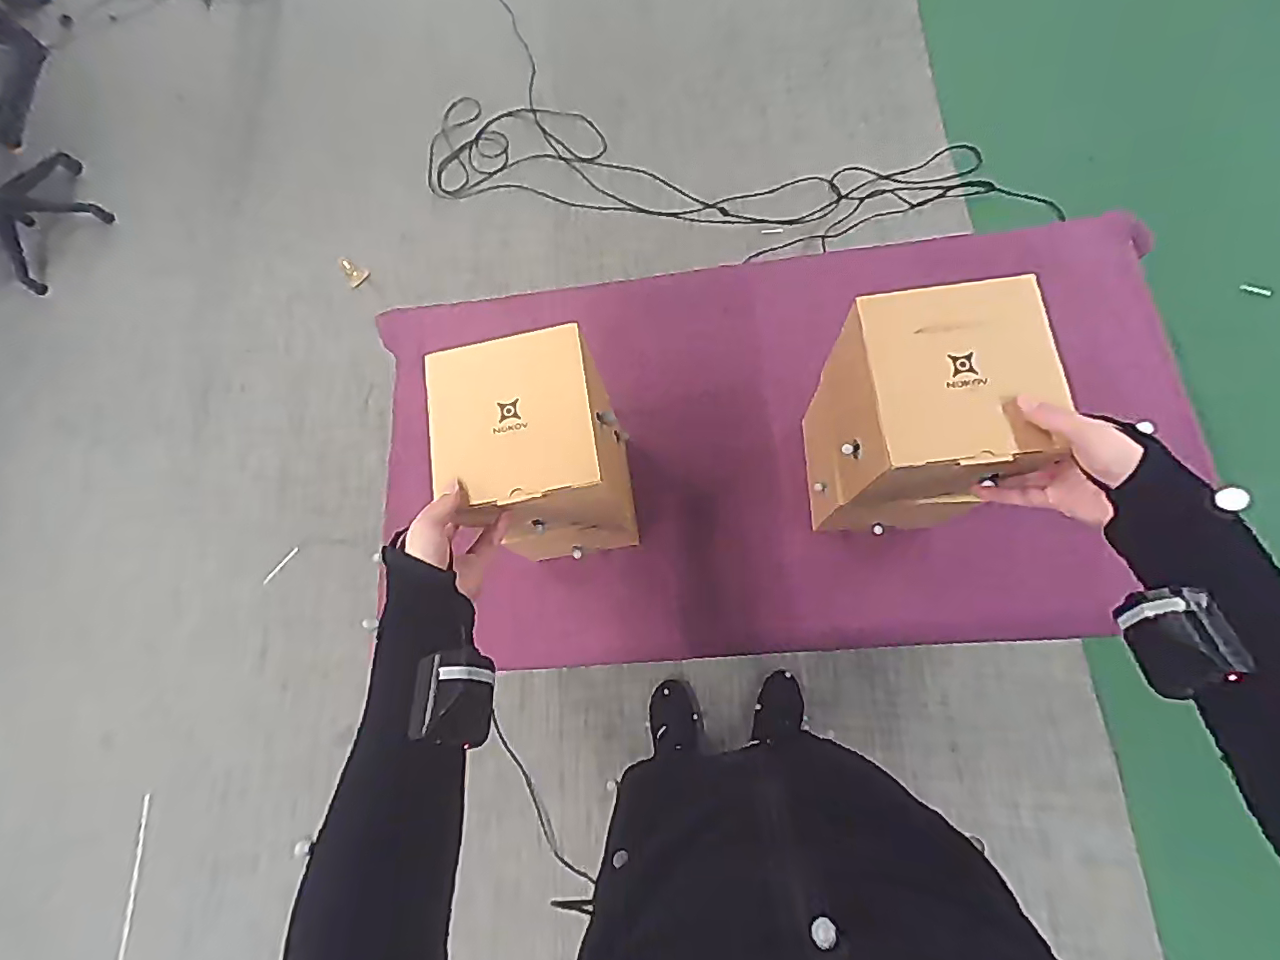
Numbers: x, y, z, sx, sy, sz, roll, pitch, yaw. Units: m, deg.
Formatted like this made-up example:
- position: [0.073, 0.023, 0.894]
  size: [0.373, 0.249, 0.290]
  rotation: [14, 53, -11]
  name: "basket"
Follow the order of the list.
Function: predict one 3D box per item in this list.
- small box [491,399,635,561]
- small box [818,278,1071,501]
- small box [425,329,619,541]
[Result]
- position: [-0.106, 0.008, 0.771]
  size: [0.168, 0.176, 0.179]
  rotation: [-10, 73, 5]
  name: "small box"
- position: [0.295, -0.079, 0.570]
  size: [0.168, 0.176, 0.179]
  rotation: [-5, 74, 6]
  name: "small box"
- position: [-0.125, -0.040, 0.617]
  size: [0.168, 0.176, 0.179]
  rotation: [-11, 74, 3]
  name: "small box"
